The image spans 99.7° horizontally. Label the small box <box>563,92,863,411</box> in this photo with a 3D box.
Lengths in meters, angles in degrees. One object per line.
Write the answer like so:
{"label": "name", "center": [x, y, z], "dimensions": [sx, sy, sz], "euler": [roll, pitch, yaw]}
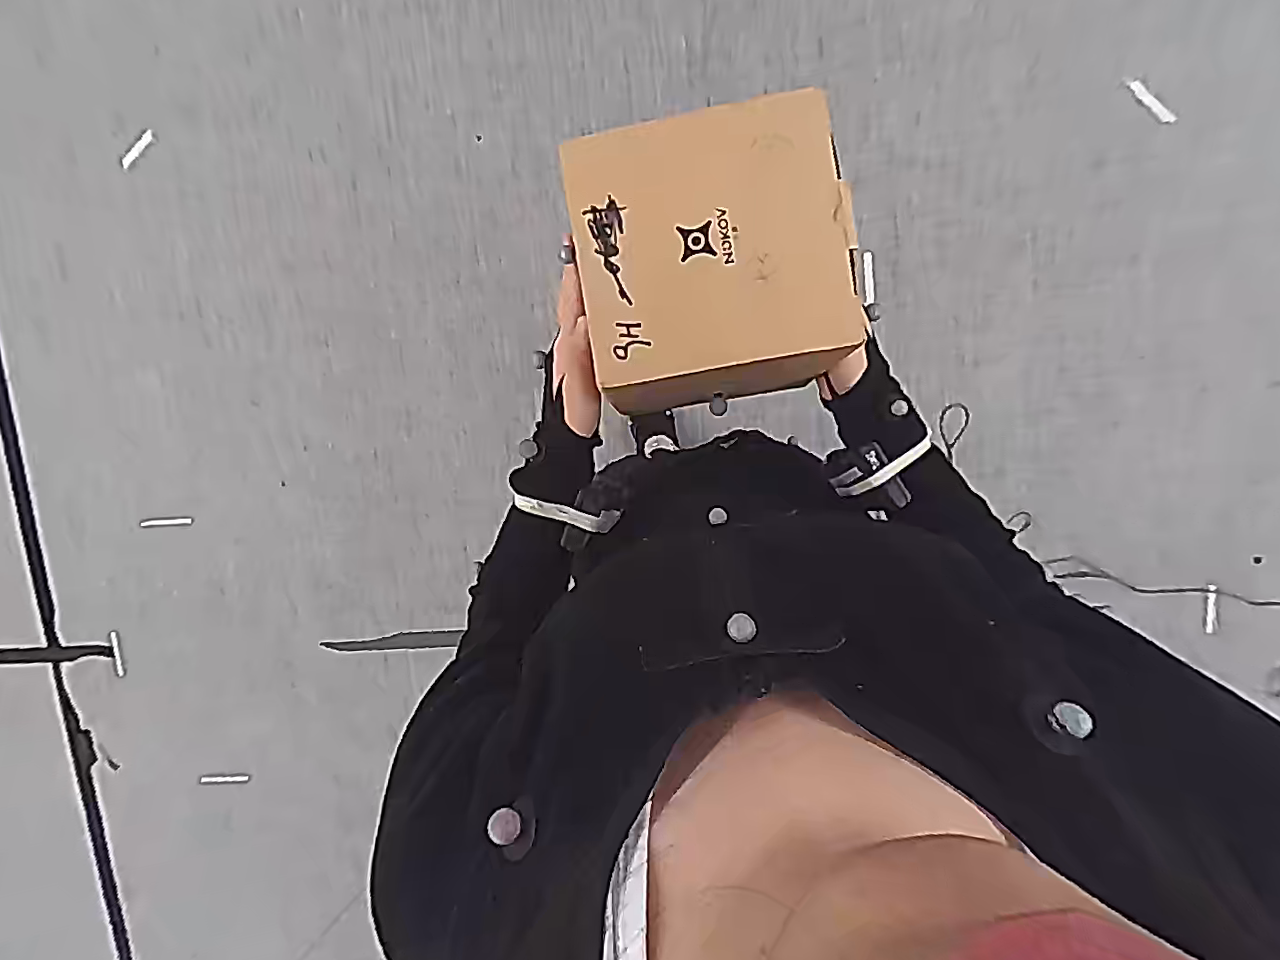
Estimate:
{"label": "small box", "center": [0.049, -0.155, 0.426], "dimensions": [0.179, 0.176, 0.168], "euler": [-9, 90, 3]}
